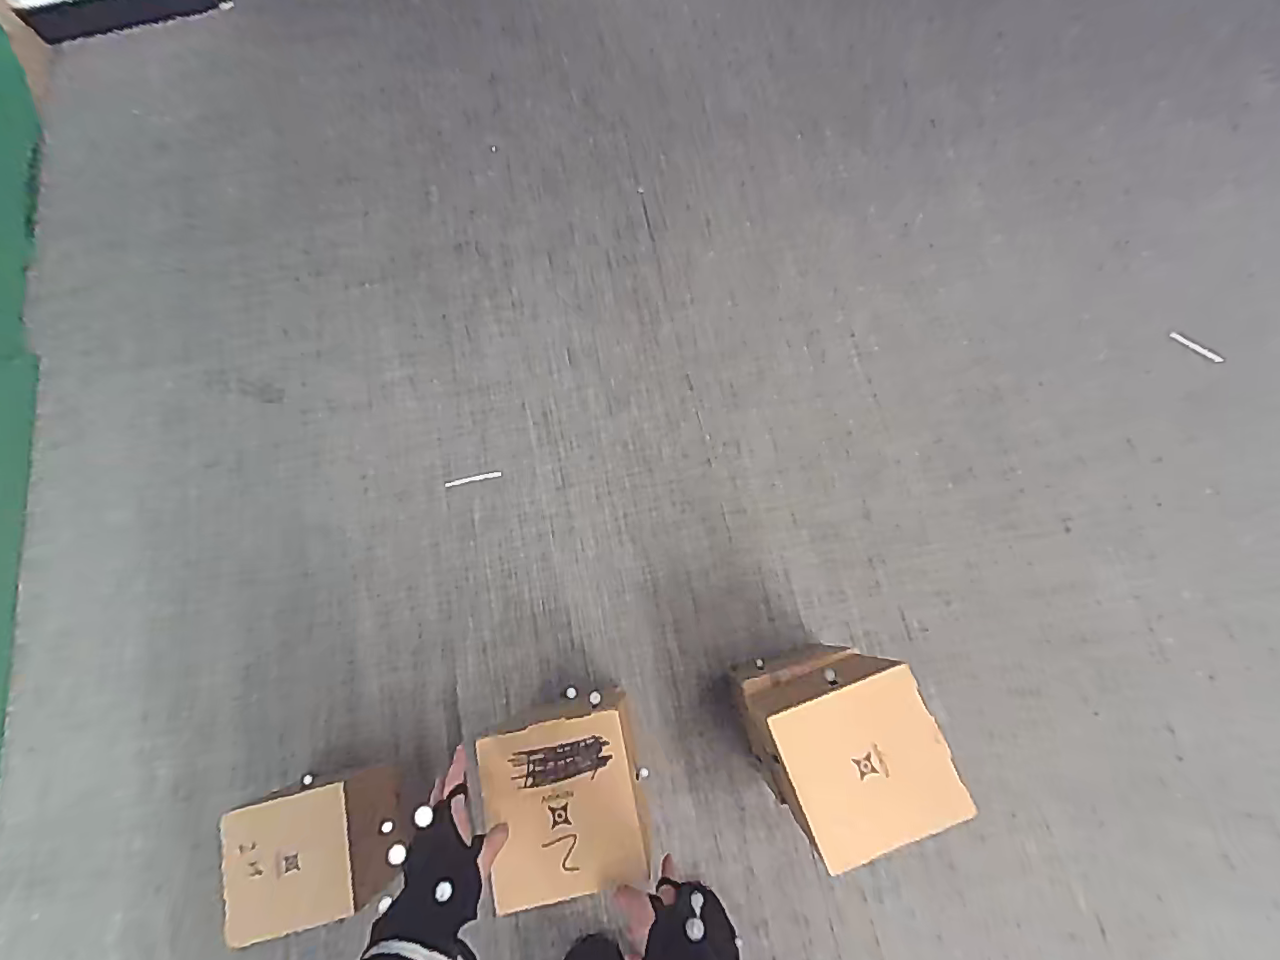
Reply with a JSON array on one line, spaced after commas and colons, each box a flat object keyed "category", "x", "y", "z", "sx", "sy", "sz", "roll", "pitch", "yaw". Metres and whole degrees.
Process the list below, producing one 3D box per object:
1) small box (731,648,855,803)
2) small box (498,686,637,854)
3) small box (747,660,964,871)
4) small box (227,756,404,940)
[{"category": "small box", "x": 0.245, "y": 0.363, "z": 0.830, "sx": 0.179, "sy": 0.176, "sz": 0.168, "roll": -15, "pitch": 75, "yaw": -2}, {"category": "small box", "x": -0.103, "y": 0.429, "z": 0.829, "sx": 0.168, "sy": 0.176, "sz": 0.179, "roll": -13, "pitch": 74, "yaw": -1}, {"category": "small box", "x": 0.244, "y": 0.334, "z": 0.670, "sx": 0.179, "sy": 0.176, "sz": 0.168, "roll": -20, "pitch": 75, "yaw": -3}, {"category": "small box", "x": -0.476, "y": 0.538, "z": 0.818, "sx": 0.179, "sy": 0.176, "sz": 0.168, "roll": -14, "pitch": 74, "yaw": -1}]
